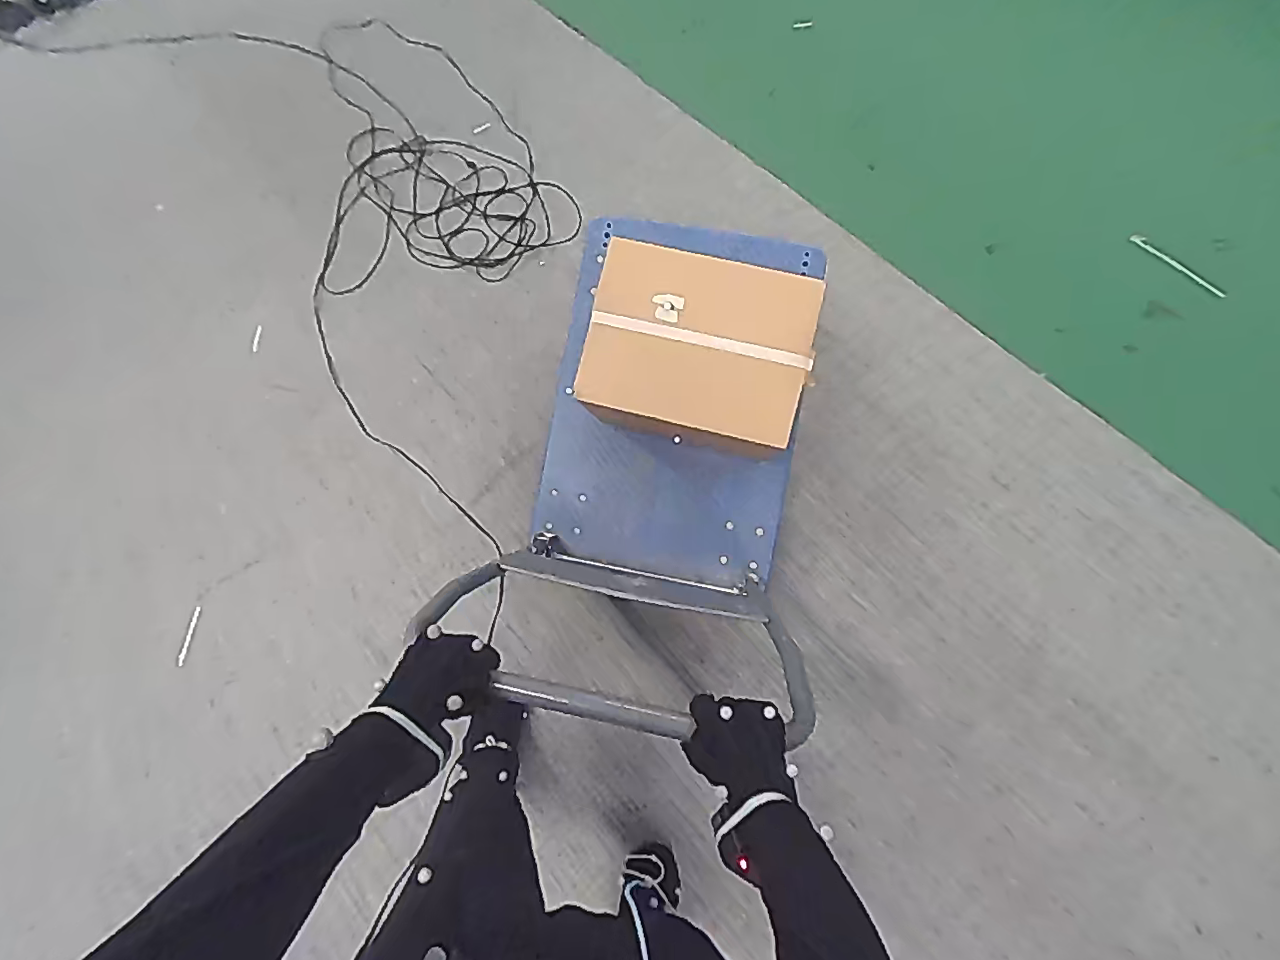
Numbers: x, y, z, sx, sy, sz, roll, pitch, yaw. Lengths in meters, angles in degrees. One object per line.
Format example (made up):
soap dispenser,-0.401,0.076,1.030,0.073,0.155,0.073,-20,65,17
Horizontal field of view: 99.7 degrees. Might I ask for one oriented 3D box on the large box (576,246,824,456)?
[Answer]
large box,0.123,-0.243,1.128,0.408,0.320,0.320,14,89,7
